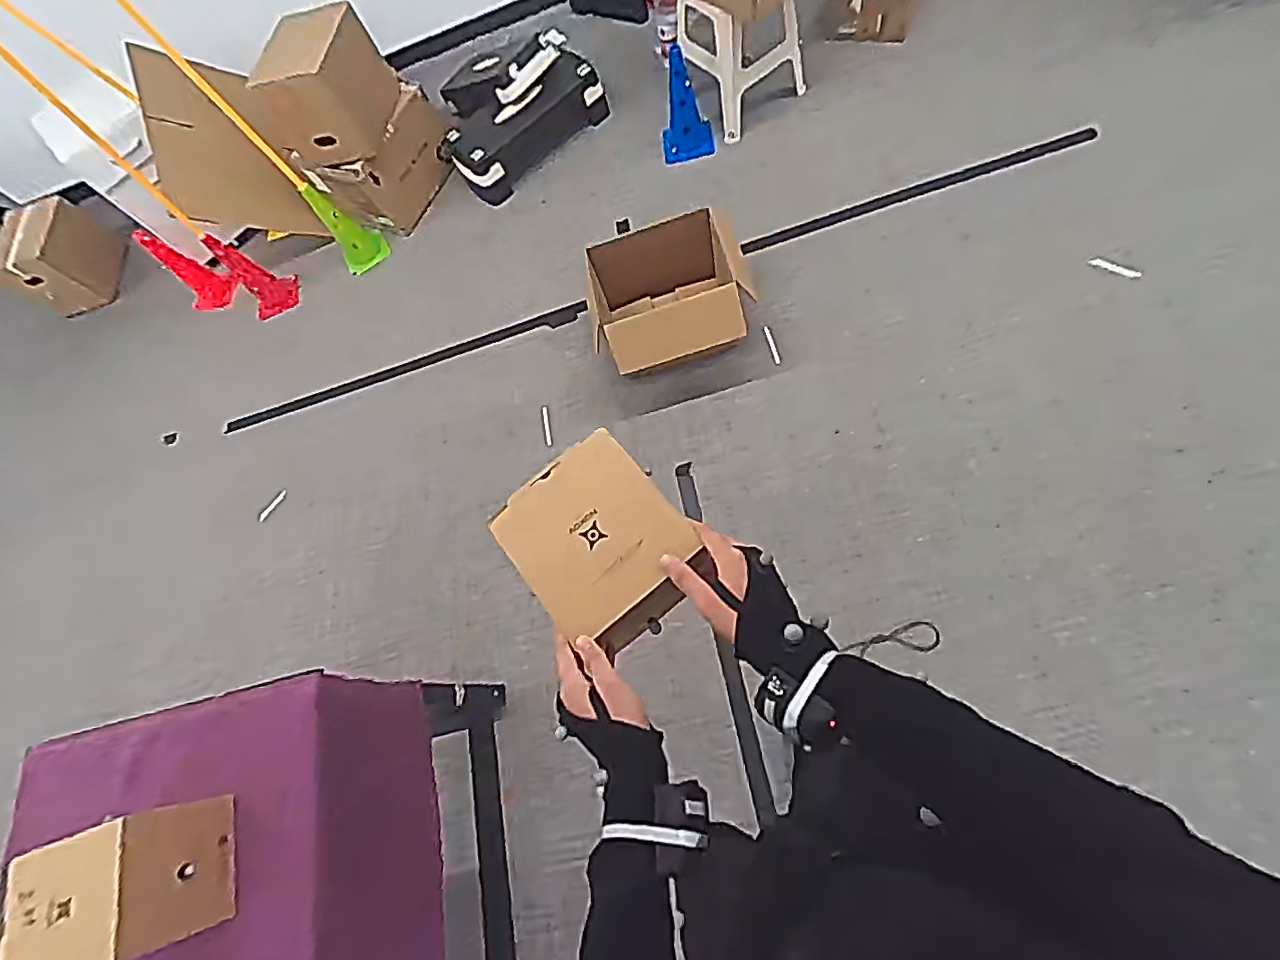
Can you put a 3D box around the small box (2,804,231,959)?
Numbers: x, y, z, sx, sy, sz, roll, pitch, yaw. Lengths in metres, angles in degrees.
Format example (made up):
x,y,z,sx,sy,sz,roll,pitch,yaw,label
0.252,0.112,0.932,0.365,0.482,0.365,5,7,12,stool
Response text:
x,y,z,sx,sy,sz,roll,pitch,yaw,label
-0.716,0.582,0.759,0.179,0.176,0.168,-23,66,5,small box

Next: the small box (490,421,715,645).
x,y,z,sx,sy,sz,roll,pitch,yaw,label
-0.033,0.071,0.620,0.168,0.176,0.179,-39,68,-3,small box
